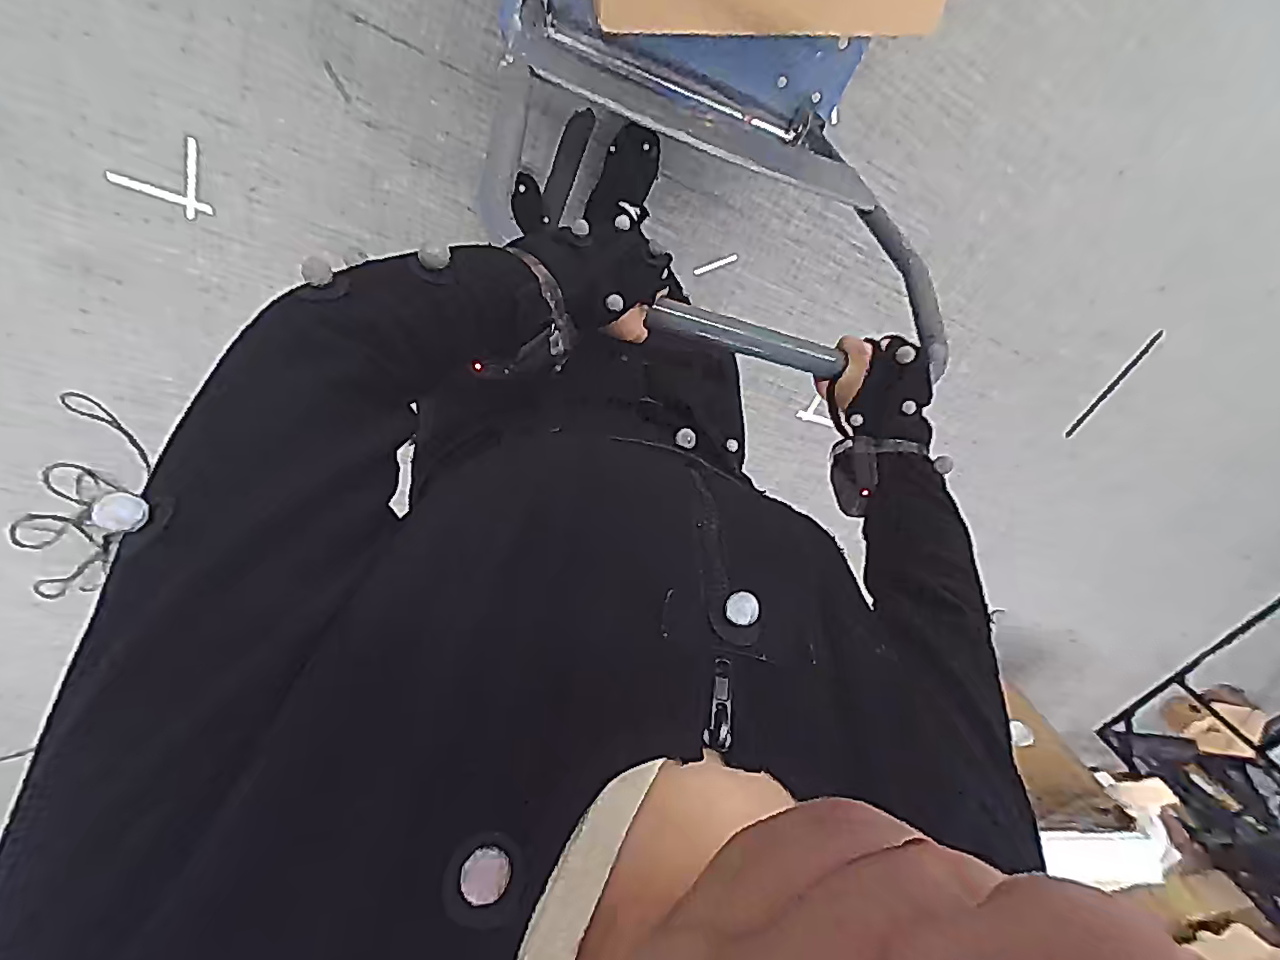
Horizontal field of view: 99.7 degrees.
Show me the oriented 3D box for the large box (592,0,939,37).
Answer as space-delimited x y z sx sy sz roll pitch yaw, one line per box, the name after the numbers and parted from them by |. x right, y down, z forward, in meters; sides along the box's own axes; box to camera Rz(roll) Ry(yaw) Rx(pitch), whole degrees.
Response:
0.137 -0.743 0.628 0.408 0.320 0.320 -5 138 -5 | large box
